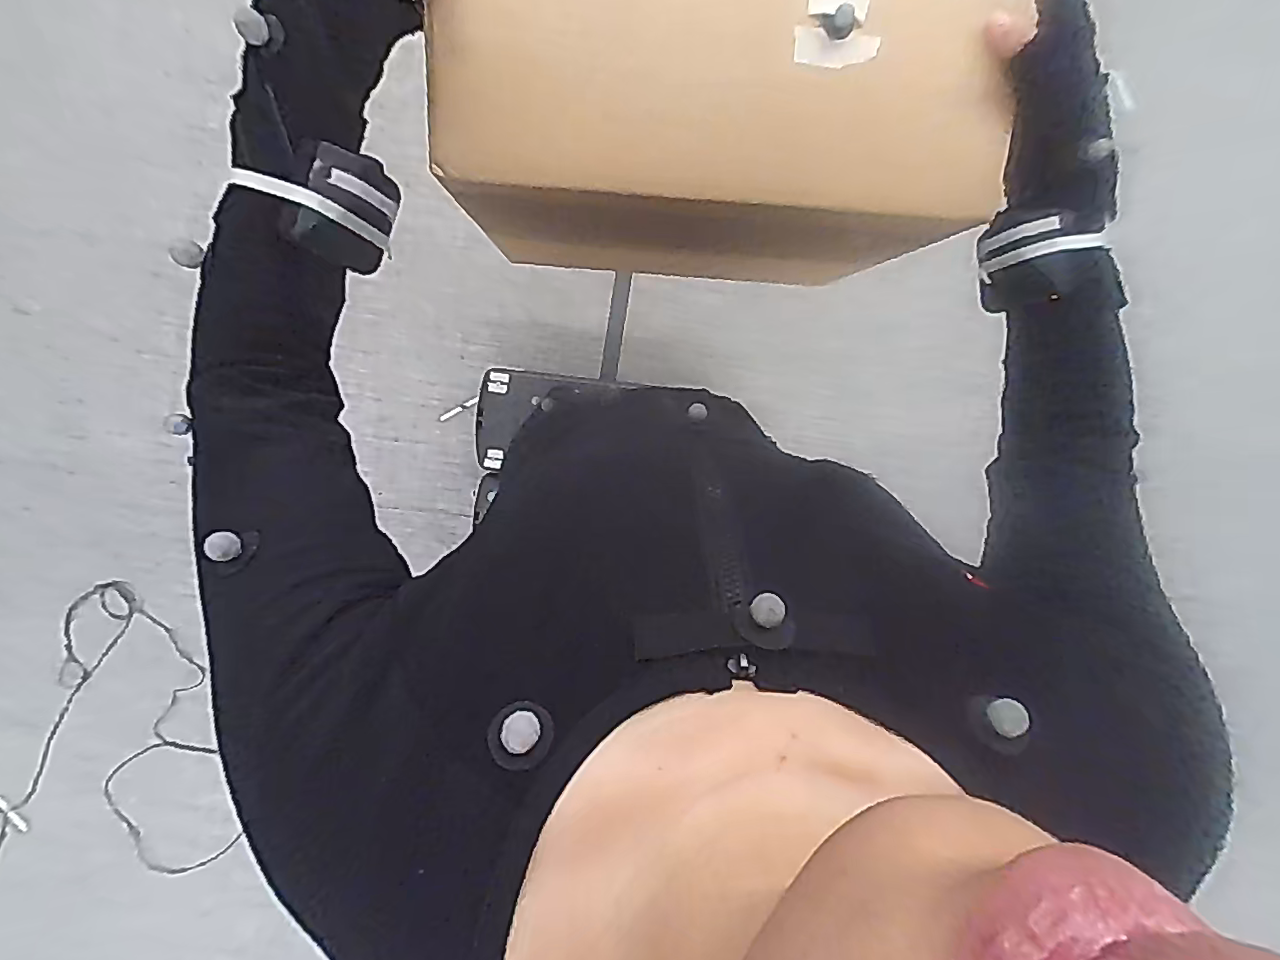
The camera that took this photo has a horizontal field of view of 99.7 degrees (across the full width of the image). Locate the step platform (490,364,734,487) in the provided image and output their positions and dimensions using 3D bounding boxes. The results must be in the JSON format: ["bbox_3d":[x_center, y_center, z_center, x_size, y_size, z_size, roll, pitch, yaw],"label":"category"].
[{"bbox_3d":[-0.077,-0.153,1.551,0.684,0.204,0.286,5,97,-6],"label":"step platform"}]

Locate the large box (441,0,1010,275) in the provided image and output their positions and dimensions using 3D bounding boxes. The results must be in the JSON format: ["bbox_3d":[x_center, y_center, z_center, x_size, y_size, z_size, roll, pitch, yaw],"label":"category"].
[{"bbox_3d":[0.053,-0.389,0.511,0.408,0.320,0.320,2,102,-5],"label":"large box"}]
